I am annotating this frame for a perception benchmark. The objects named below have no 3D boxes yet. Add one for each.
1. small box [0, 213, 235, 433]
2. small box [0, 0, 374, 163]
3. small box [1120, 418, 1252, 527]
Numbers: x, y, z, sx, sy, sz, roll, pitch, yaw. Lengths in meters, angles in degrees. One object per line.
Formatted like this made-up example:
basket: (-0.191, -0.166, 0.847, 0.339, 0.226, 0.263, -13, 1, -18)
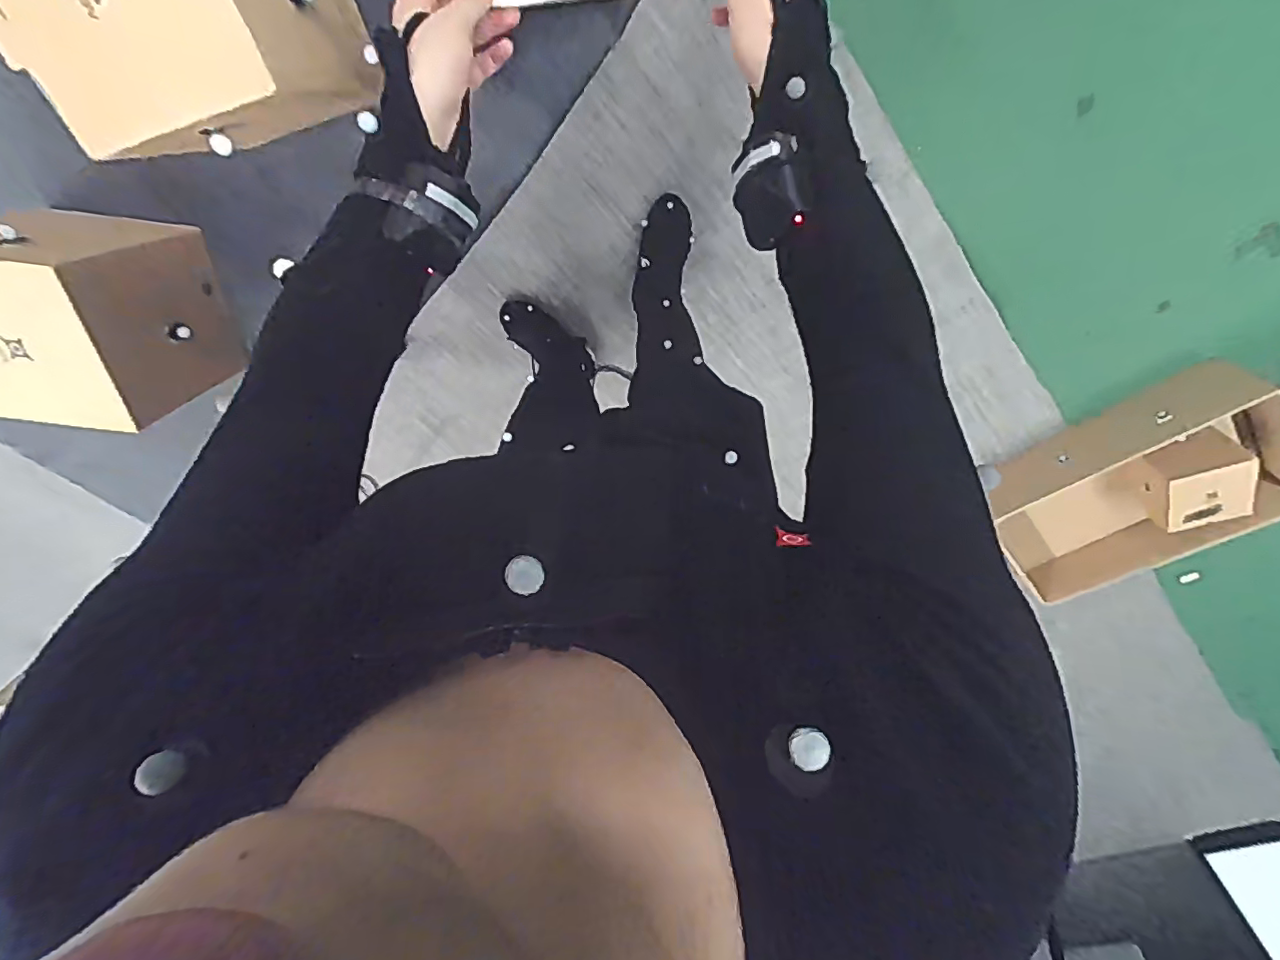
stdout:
small box: (-0.571, -0.170, 0.564, 0.179, 0.176, 0.168, 8, 126, 1)
small box: (-0.333, -0.358, 0.402, 0.179, 0.176, 0.168, -9, 124, 13)
small box: (1.322, -0.020, 1.324, 0.168, 0.176, 0.179, -20, 122, 20)
